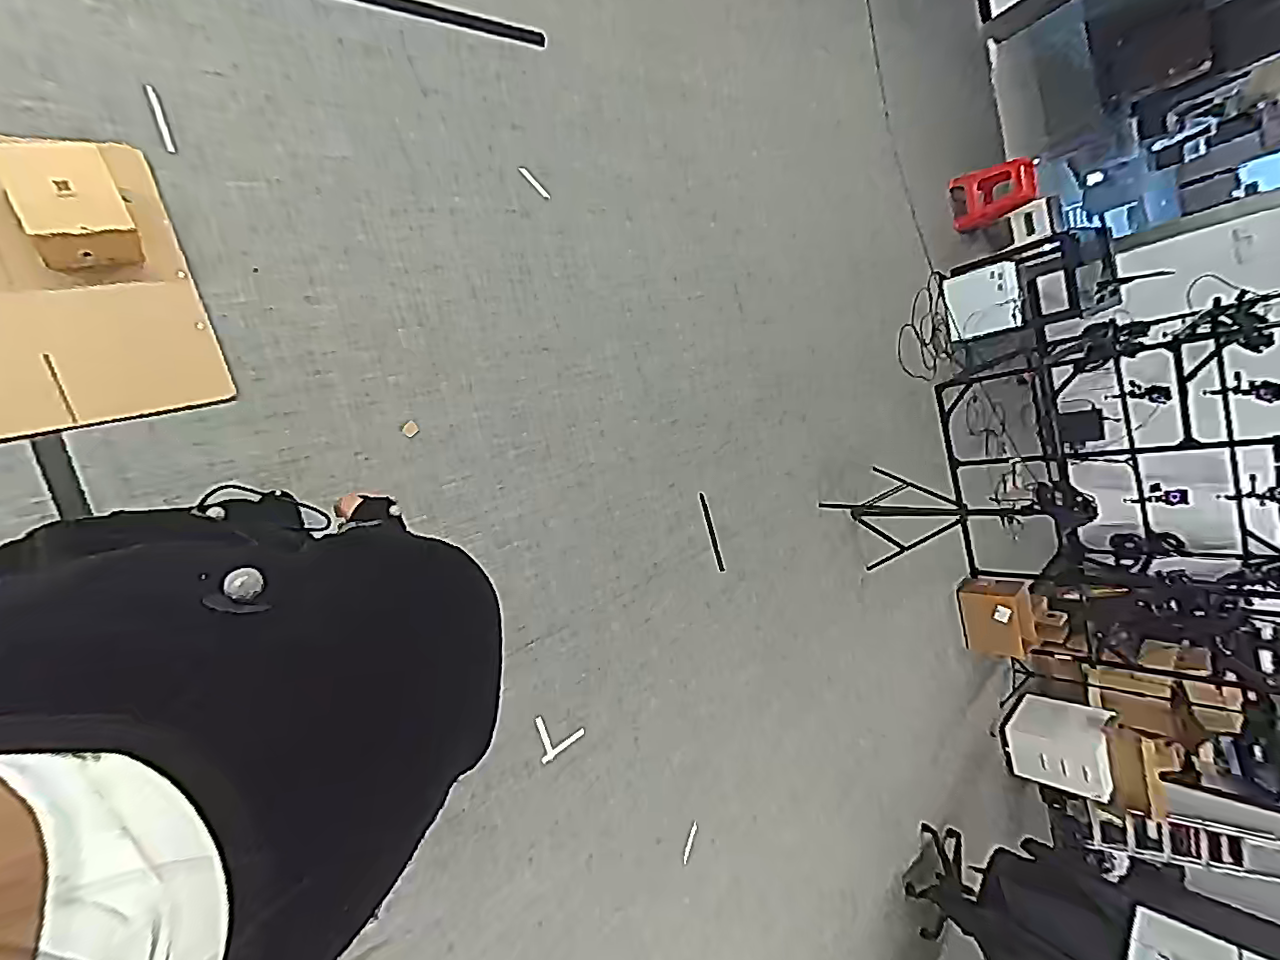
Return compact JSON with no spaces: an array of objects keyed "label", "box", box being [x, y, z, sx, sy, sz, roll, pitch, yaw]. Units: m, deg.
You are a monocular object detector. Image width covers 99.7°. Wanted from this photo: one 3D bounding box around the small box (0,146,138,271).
[{"label":"small box","box":[-1.190,-0.559,1.122,0.168,0.176,0.179,-27,103,-36]}]
